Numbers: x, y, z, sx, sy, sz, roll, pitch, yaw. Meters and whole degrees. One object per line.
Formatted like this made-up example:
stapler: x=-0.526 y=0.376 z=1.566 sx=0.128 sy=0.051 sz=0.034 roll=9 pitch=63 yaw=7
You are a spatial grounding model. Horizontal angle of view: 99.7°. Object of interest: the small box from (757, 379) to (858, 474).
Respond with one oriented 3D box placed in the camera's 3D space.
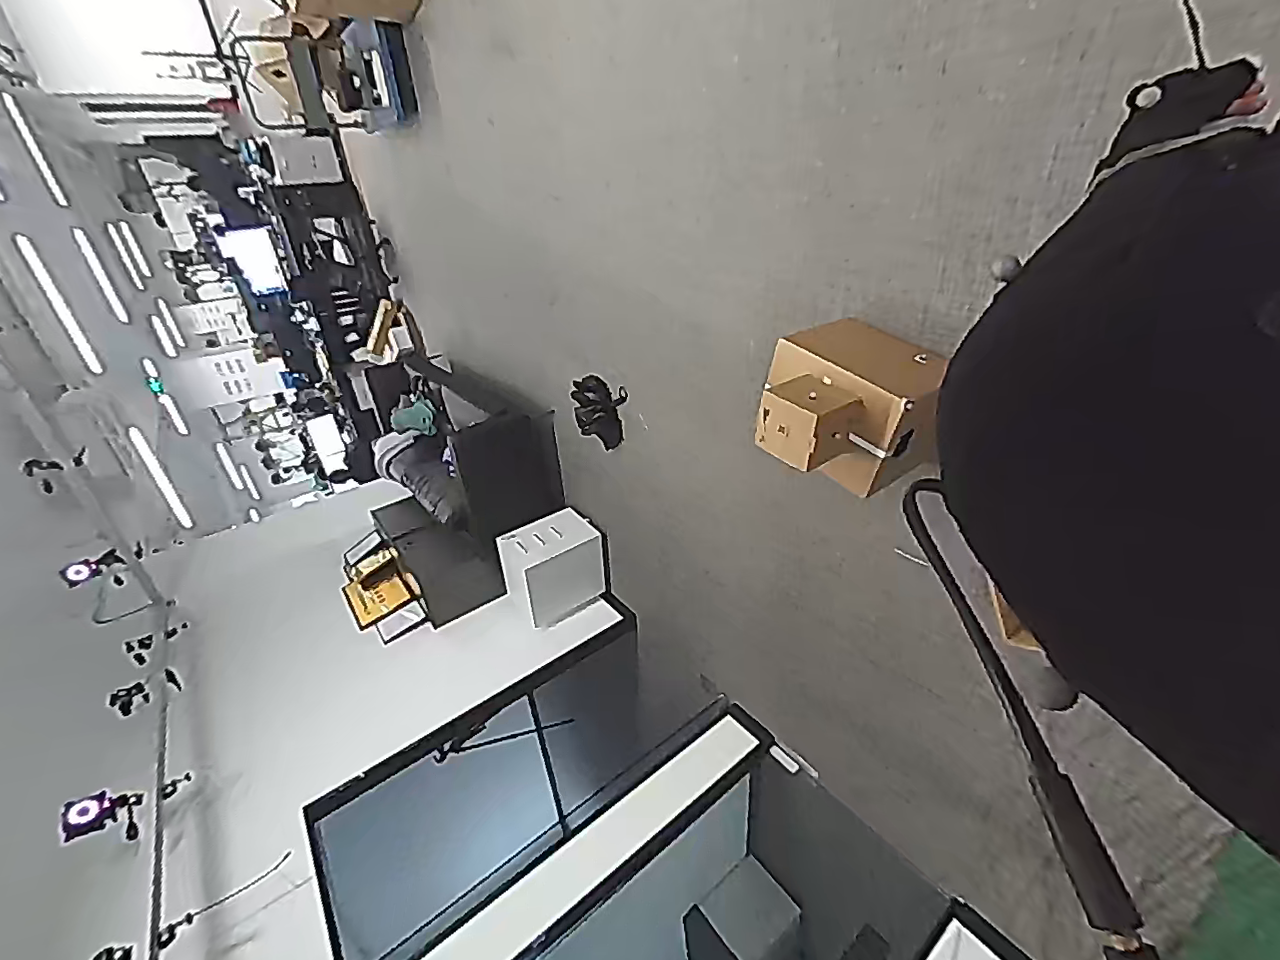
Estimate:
small box: x=0.434 y=-0.147 z=1.405 sx=0.179 sy=0.176 sz=0.168 roll=36 pitch=138 yaw=40
